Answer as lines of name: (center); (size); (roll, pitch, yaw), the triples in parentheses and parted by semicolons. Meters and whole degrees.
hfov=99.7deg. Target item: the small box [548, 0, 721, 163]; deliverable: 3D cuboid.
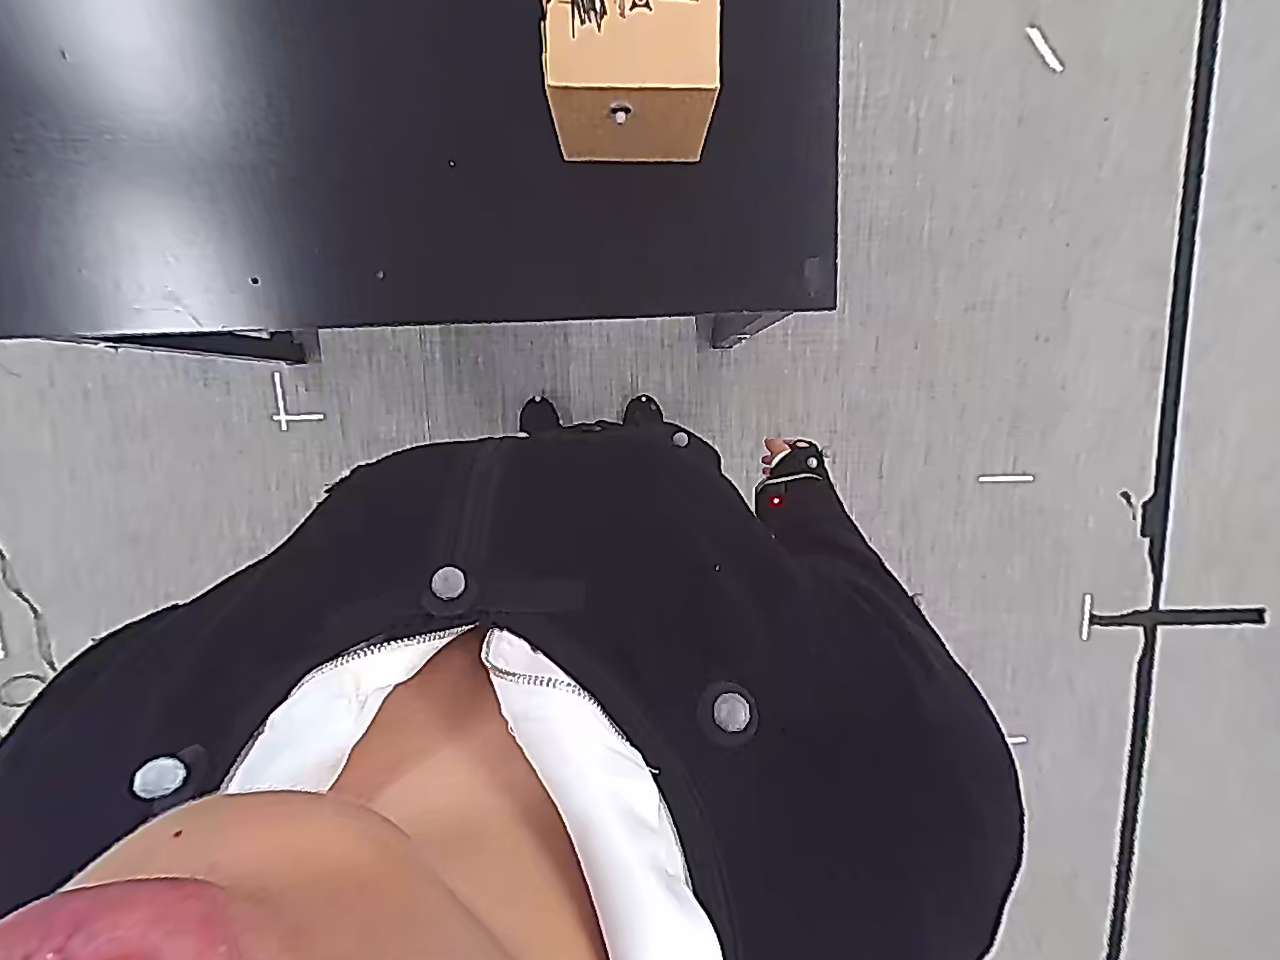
small box: (-0.007, -0.486, 0.620); (0.179, 0.176, 0.168); (0, 98, -2)
